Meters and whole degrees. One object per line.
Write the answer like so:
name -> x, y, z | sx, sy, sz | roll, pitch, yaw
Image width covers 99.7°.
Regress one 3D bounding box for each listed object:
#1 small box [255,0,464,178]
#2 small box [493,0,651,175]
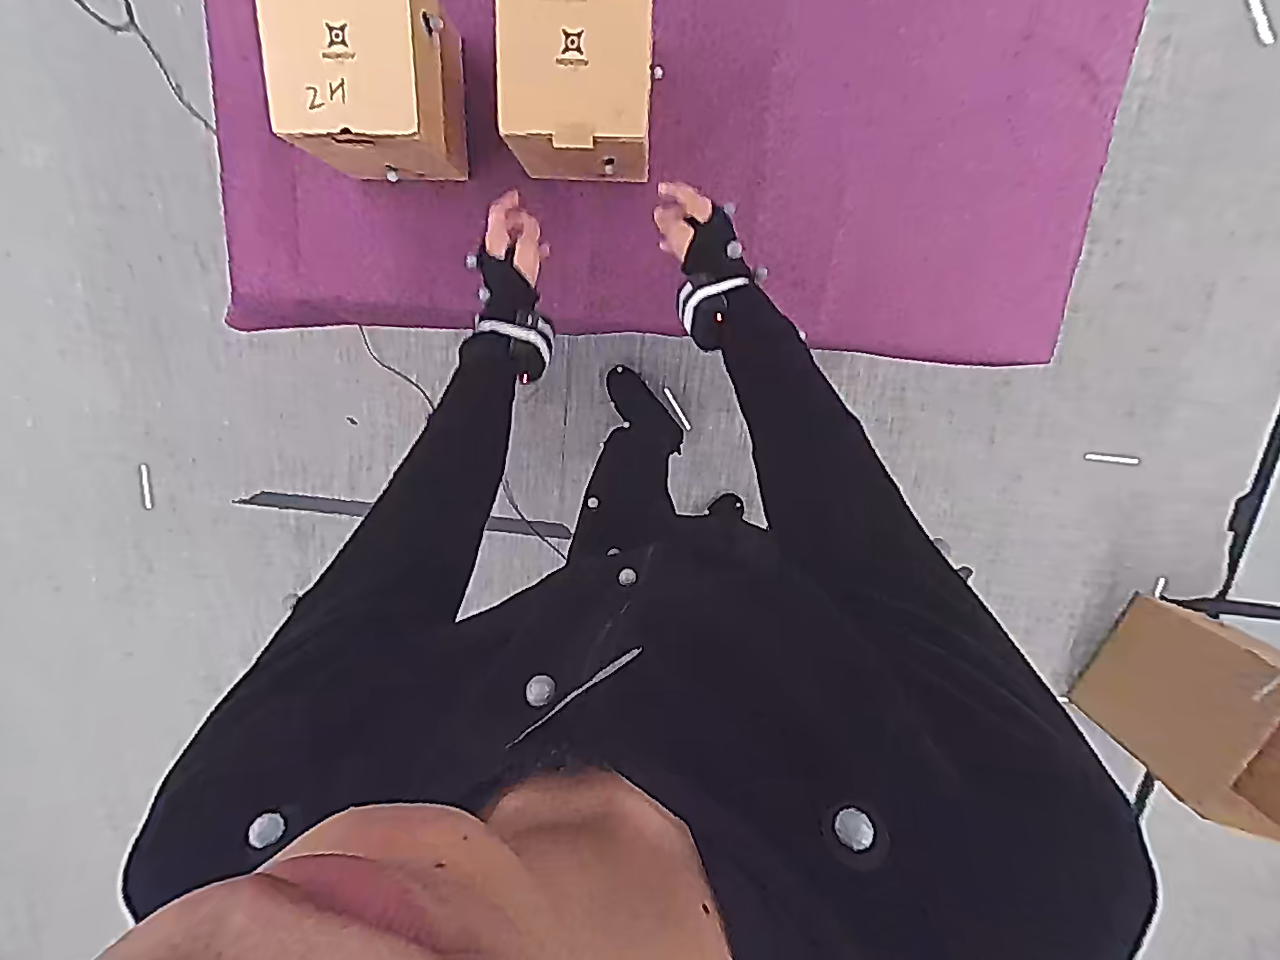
small box -> -0.324, -0.489, 0.654 | 0.168, 0.176, 0.179 | 2, 105, 1
small box -> -0.074, -0.487, 0.653 | 0.168, 0.176, 0.179 | 3, 104, 0
